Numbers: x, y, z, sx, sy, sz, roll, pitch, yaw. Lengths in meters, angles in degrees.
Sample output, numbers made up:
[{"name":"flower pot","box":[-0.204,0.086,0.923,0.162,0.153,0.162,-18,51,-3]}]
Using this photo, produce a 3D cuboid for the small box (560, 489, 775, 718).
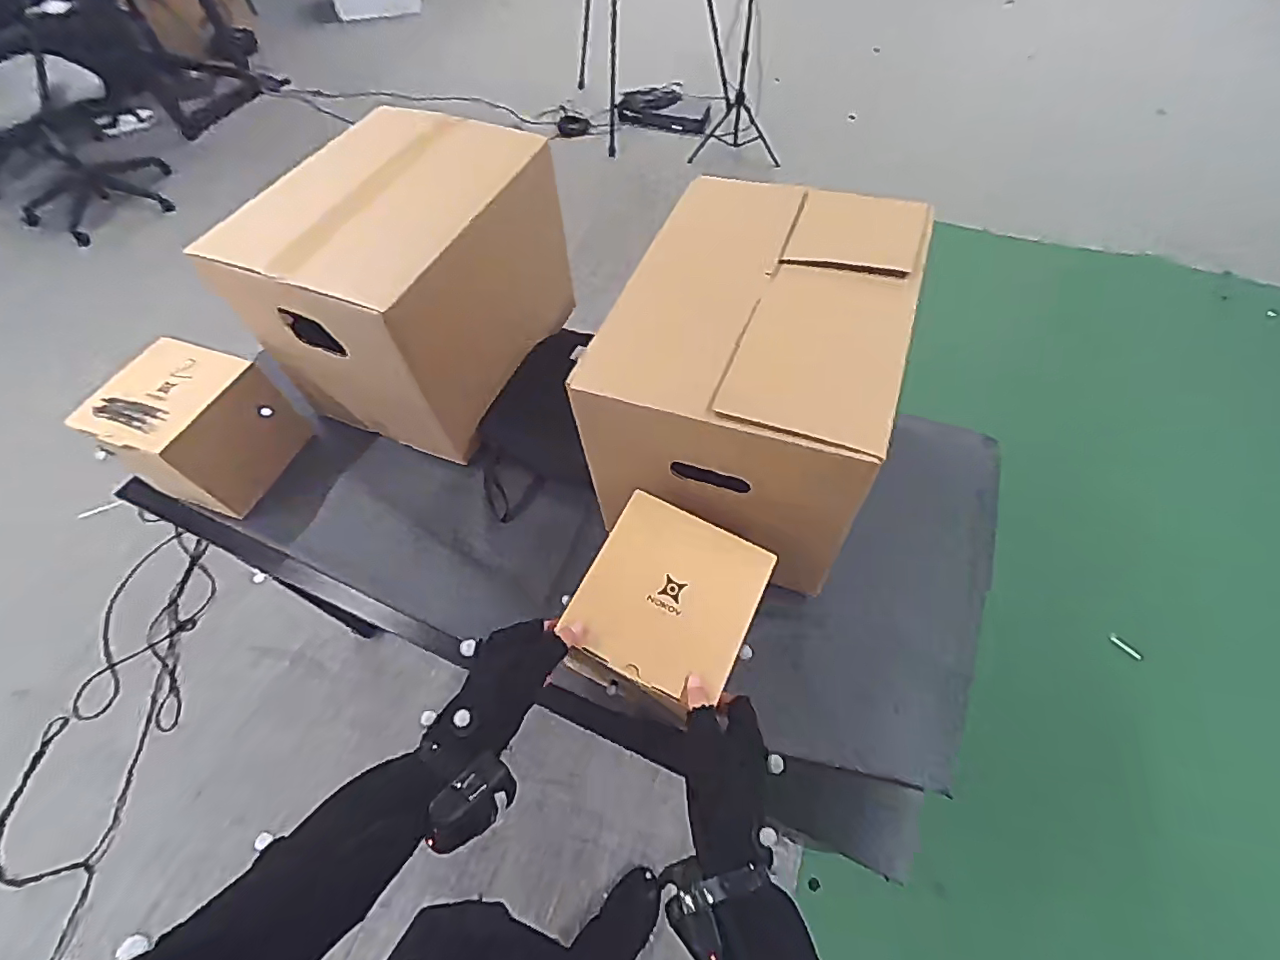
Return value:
[{"name":"small box","box":[0.027,0.145,0.607,0.168,0.176,0.179,25,66,9]}]
